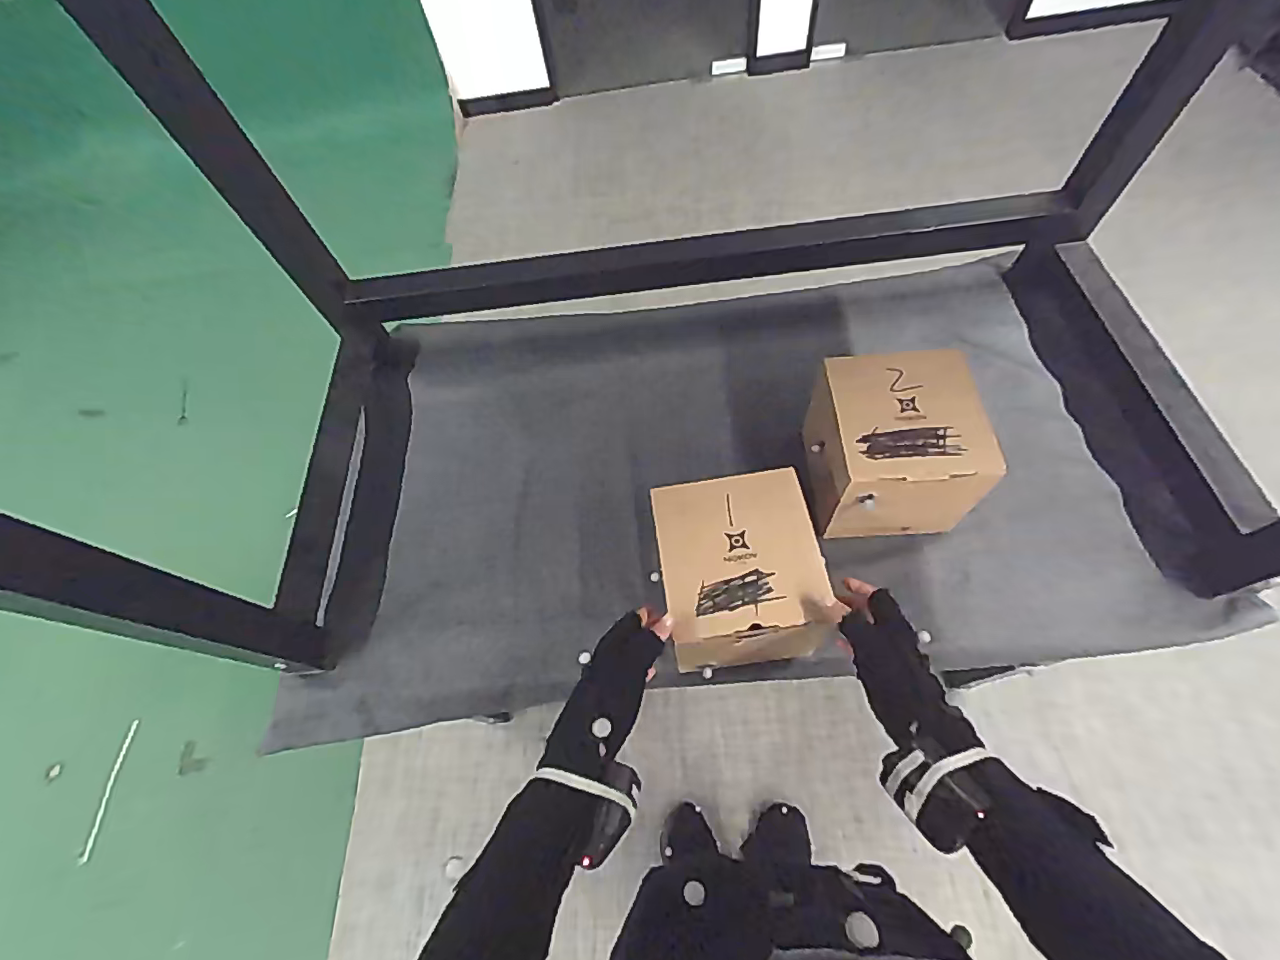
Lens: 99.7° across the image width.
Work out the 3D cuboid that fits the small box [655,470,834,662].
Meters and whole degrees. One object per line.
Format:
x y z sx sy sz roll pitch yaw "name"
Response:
0.117 0.113 0.652 0.168 0.176 0.179 -9 60 3 "small box"
